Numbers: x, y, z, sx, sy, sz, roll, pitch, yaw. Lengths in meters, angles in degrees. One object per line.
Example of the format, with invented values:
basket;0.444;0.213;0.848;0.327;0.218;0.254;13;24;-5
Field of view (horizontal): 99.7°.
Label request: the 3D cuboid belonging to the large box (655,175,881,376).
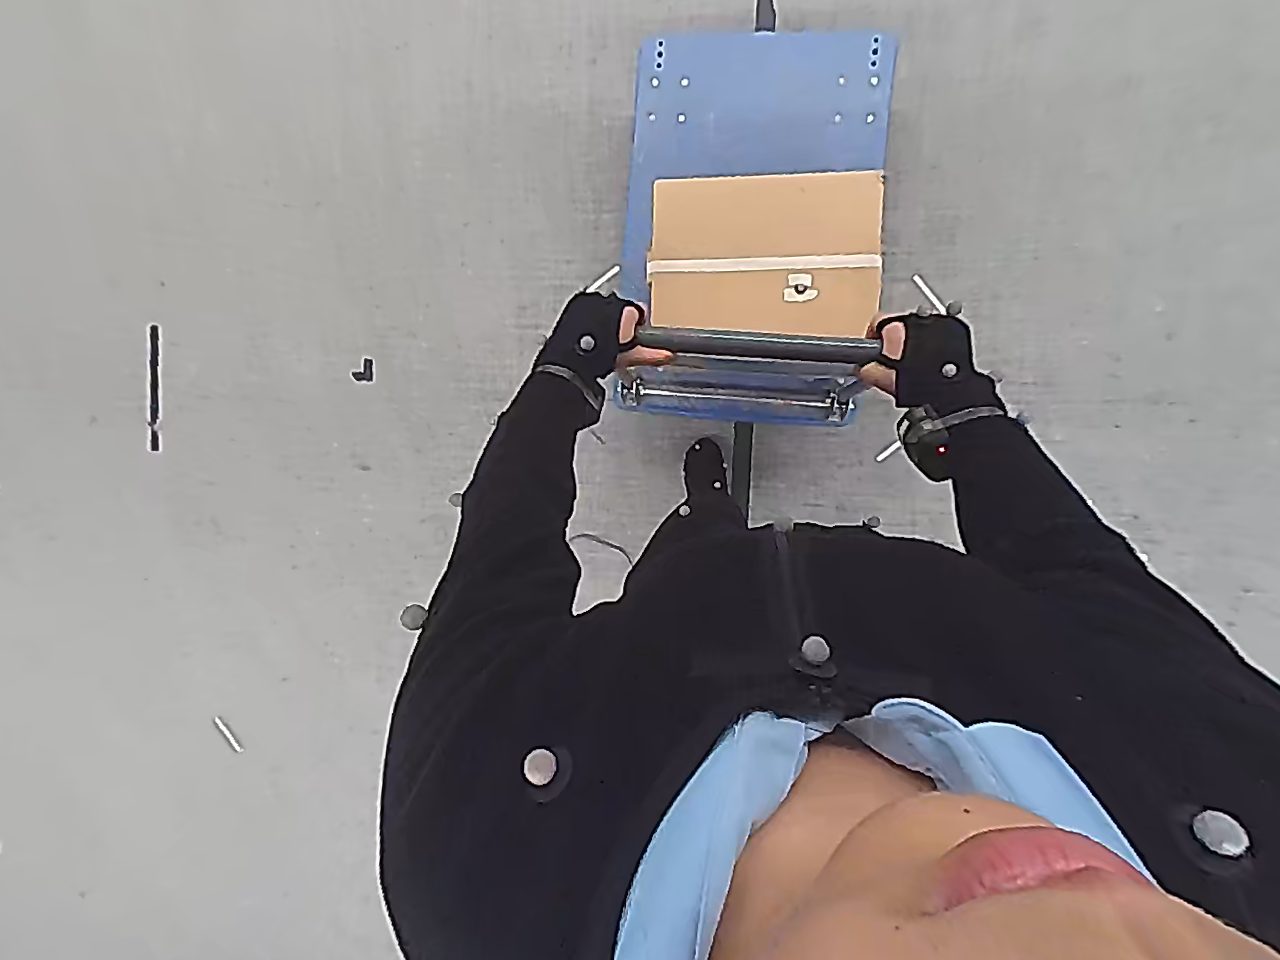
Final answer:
large box;0.242;-0.396;1.130;0.408;0.320;0.320;1;94;7
